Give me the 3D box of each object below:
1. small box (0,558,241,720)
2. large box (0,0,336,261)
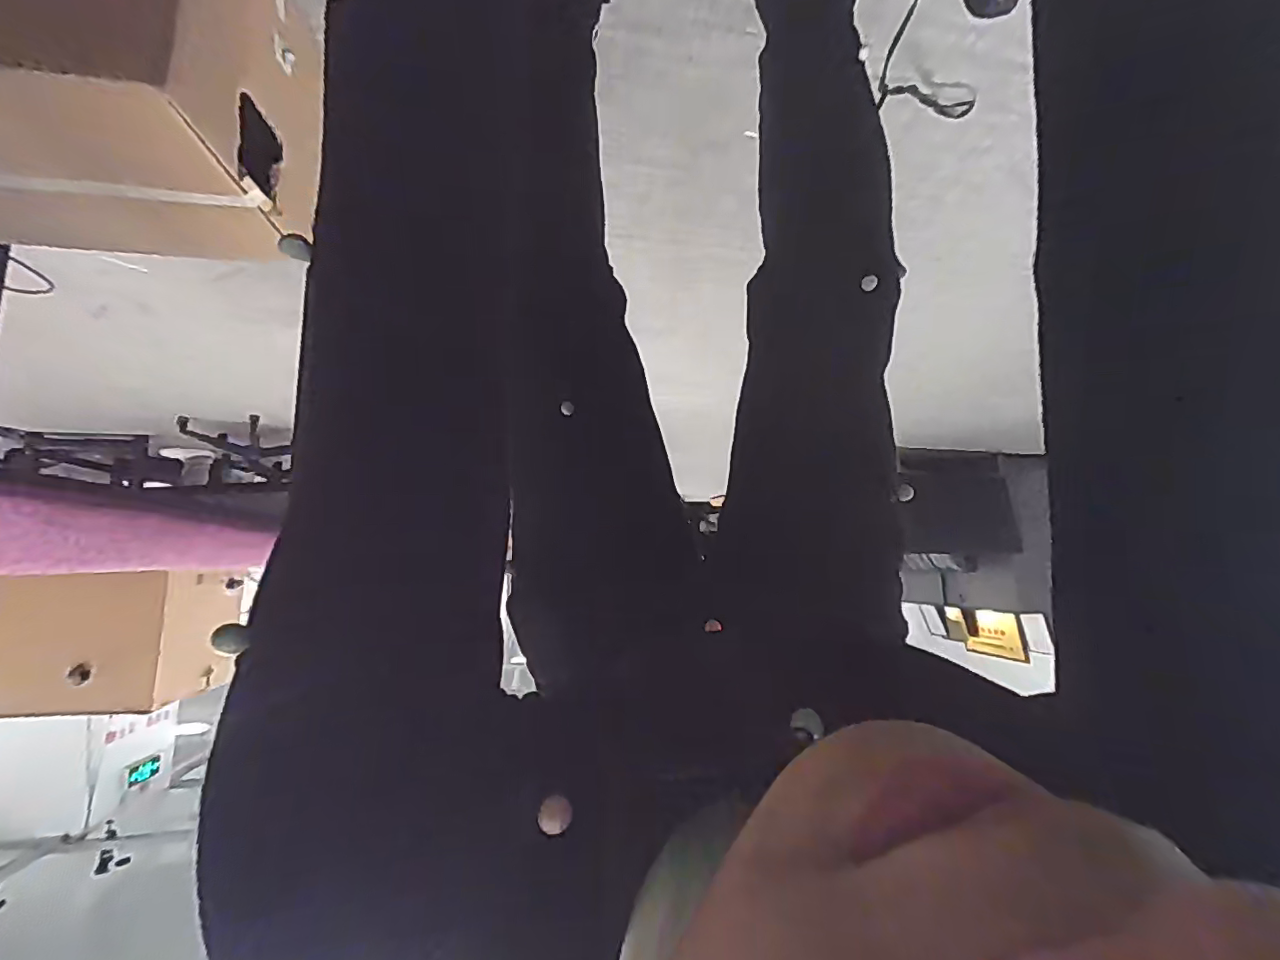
[{"bbox_3d":[-0.636,0.186,0.676,0.179,0.176,0.168,2,170,-8],"label":"small box"},{"bbox_3d":[-0.640,-0.491,0.630,0.408,0.320,0.320,2,170,-8],"label":"large box"}]
